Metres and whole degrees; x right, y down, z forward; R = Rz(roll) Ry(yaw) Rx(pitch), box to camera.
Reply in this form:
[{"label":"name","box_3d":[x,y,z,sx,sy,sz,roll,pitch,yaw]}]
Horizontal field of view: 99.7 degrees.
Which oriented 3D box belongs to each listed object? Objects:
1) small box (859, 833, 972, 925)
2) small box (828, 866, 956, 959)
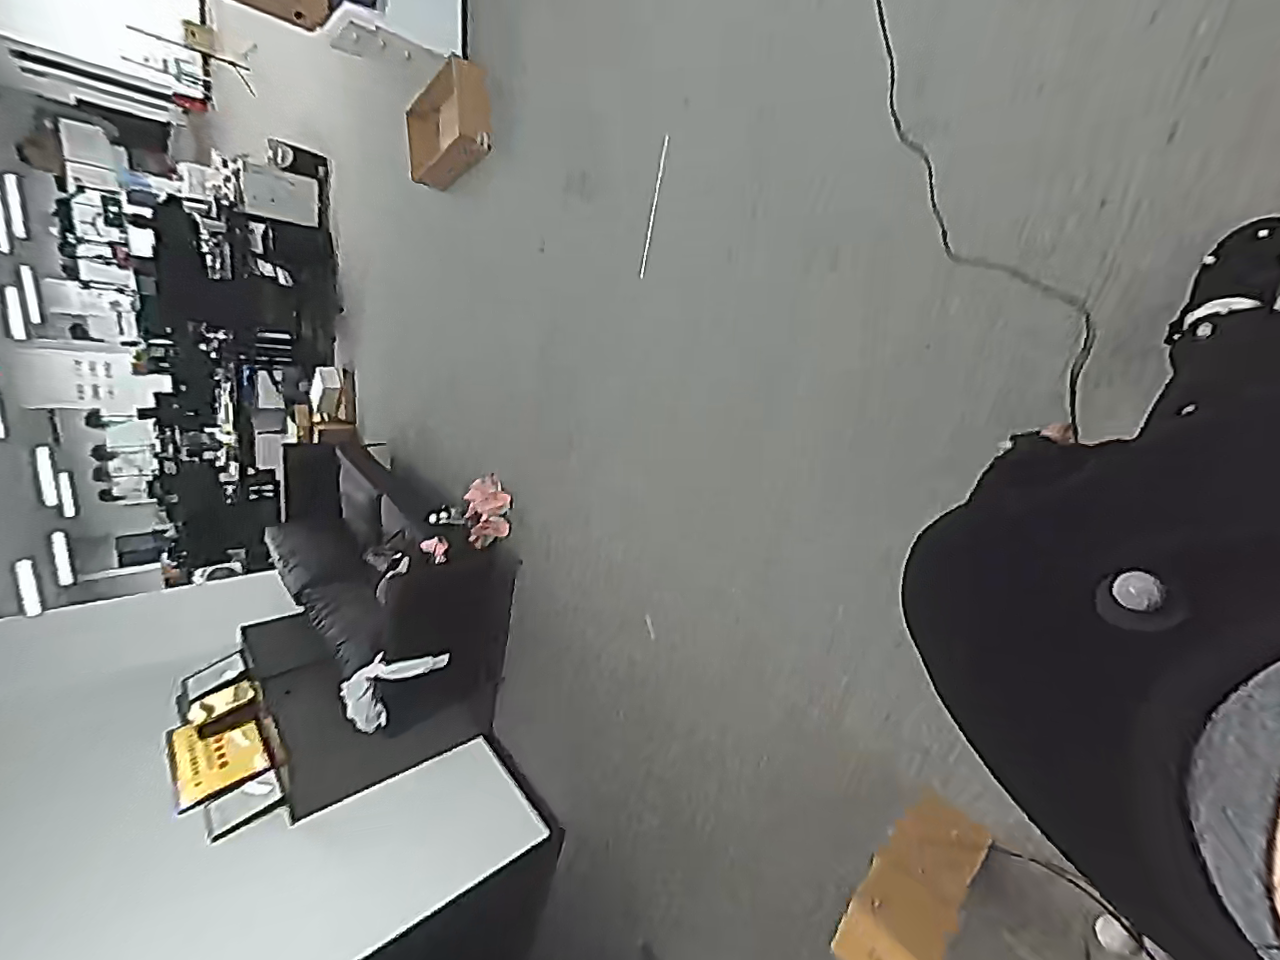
[{"label":"small box","box_3d":[0.653,0.991,1.291,0.179,0.176,0.168,26,113,40]},{"label":"small box","box_3d":[0.547,0.996,1.167,0.179,0.176,0.168,29,115,41]}]
